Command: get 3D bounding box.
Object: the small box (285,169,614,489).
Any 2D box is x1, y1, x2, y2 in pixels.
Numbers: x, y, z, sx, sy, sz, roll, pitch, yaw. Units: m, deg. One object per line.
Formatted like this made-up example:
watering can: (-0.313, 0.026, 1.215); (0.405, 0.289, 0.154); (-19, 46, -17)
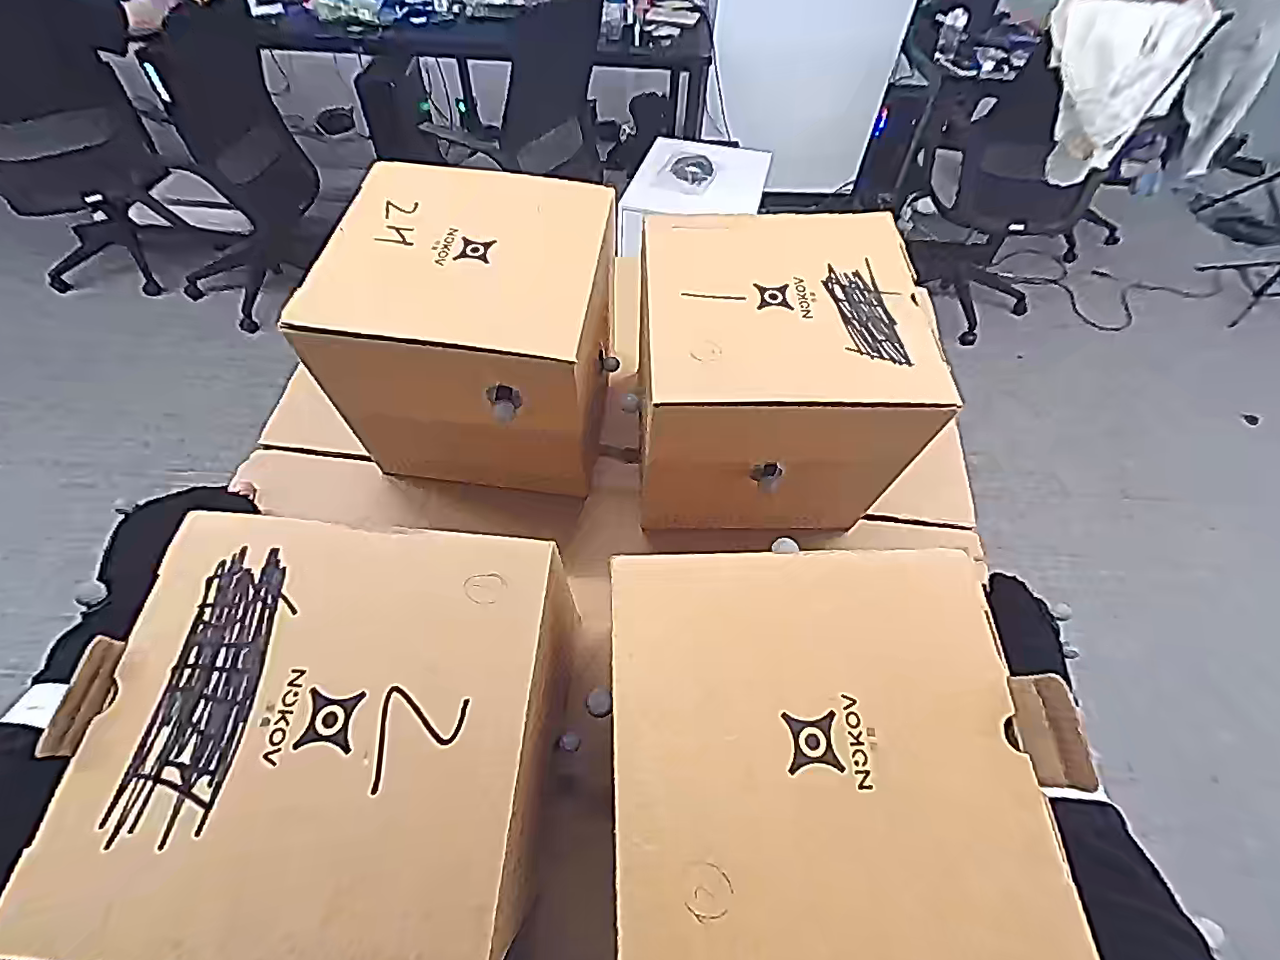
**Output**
small box: (-0.119, -0.107, 0.427); (0.179, 0.176, 0.168); (7, 60, 2)
